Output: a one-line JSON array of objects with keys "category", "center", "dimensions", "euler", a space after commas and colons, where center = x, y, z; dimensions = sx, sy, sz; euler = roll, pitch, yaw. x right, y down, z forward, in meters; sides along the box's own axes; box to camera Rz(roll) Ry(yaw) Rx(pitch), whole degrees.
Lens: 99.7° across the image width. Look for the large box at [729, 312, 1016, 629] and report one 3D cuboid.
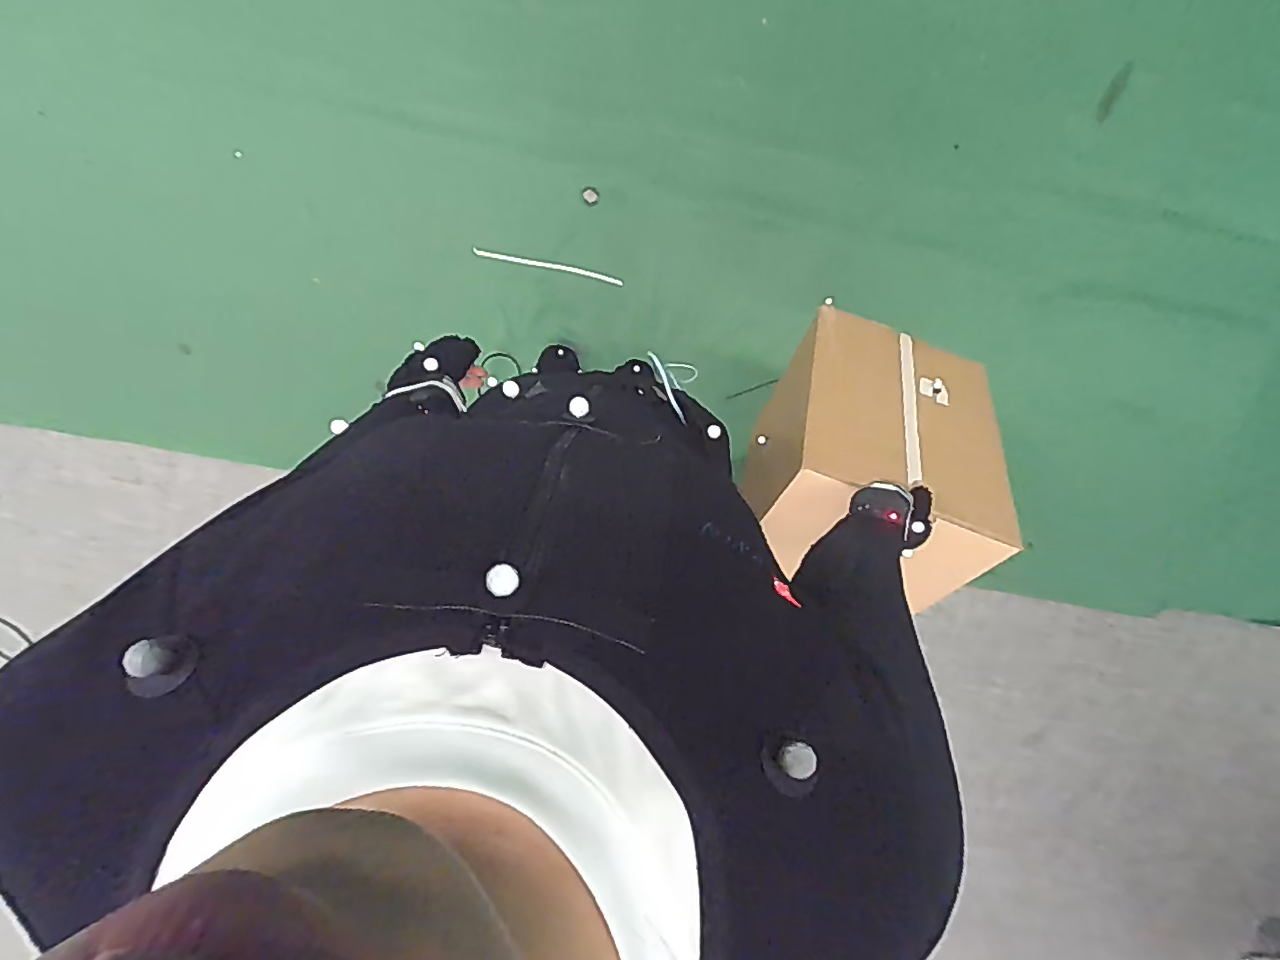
[{"category": "large box", "center": [0.374, -0.015, 0.954], "dimensions": [0.320, 0.408, 0.320], "euler": [21, 141, -1]}]
